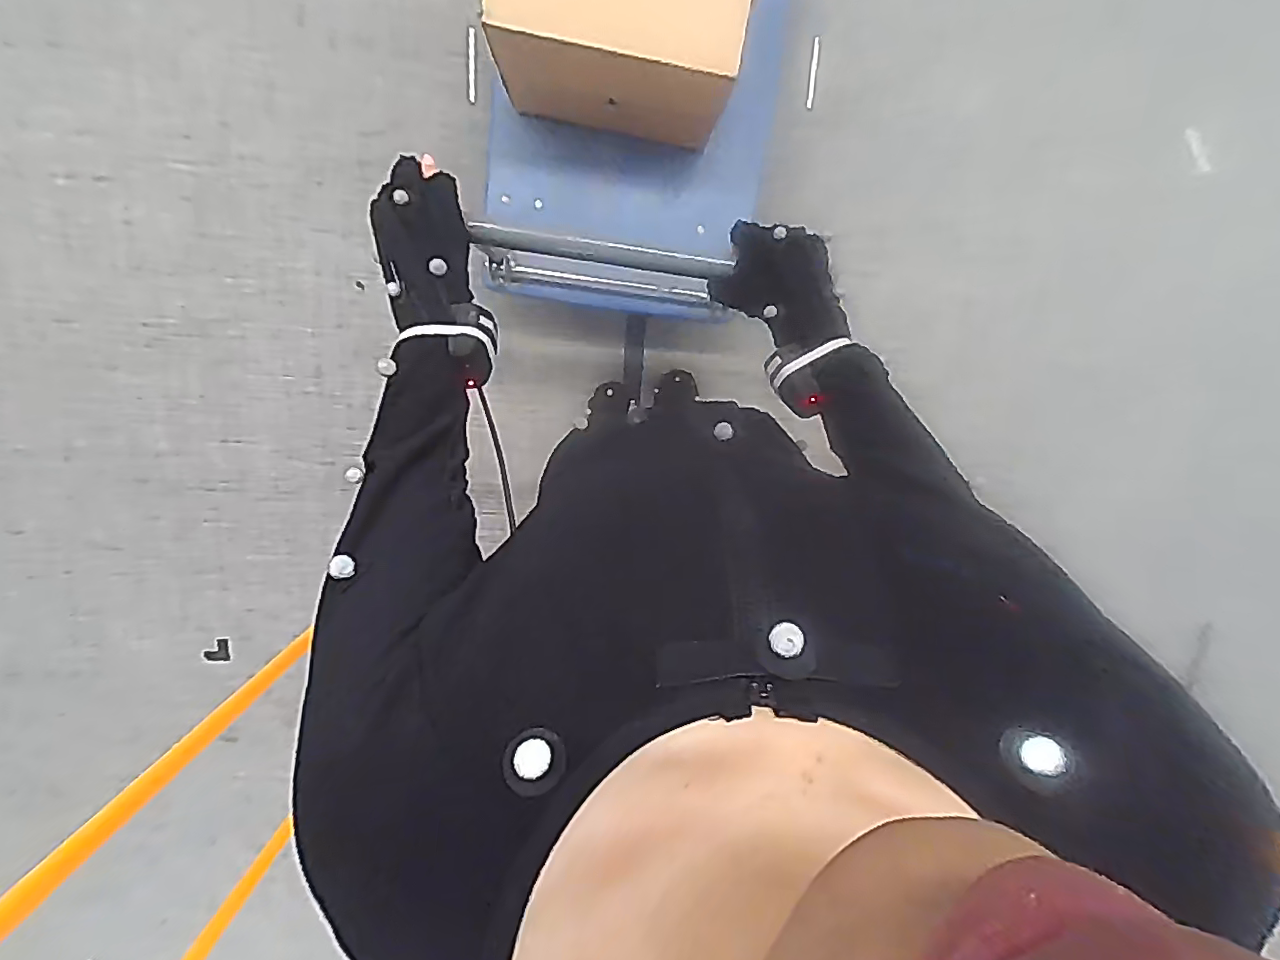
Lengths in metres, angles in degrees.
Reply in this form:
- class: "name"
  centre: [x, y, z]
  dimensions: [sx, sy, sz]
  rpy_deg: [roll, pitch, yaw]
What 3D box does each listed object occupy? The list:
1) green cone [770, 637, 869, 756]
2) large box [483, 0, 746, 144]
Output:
- class: "green cone"
  centre: [0.511, 0.608, 1.466]
  dimensions: [0.202, 0.368, 0.200]
  rpy_deg: [6, 102, -5]
- class: "large box"
  centre: [-0.030, -0.845, 0.959]
  dimensions: [0.408, 0.320, 0.320]
  rpy_deg: [8, 102, -4]
